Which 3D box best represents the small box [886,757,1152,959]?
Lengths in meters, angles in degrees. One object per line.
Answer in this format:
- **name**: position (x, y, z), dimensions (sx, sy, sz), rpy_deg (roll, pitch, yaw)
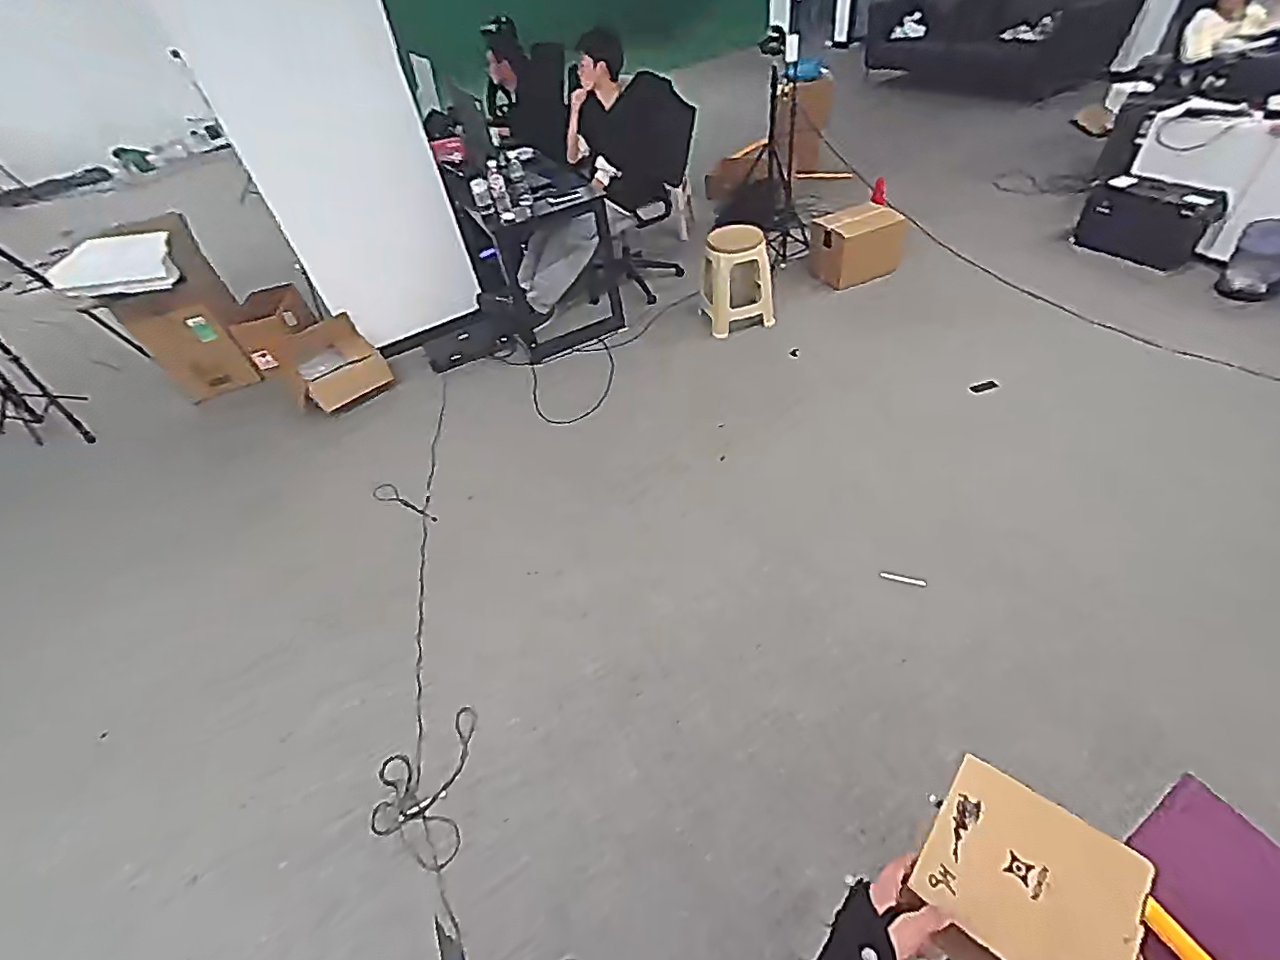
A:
- **small box**: position (0.399, 0.451, 0.597), dimensions (0.179, 0.176, 0.168), rpy_deg (27, 59, 33)
